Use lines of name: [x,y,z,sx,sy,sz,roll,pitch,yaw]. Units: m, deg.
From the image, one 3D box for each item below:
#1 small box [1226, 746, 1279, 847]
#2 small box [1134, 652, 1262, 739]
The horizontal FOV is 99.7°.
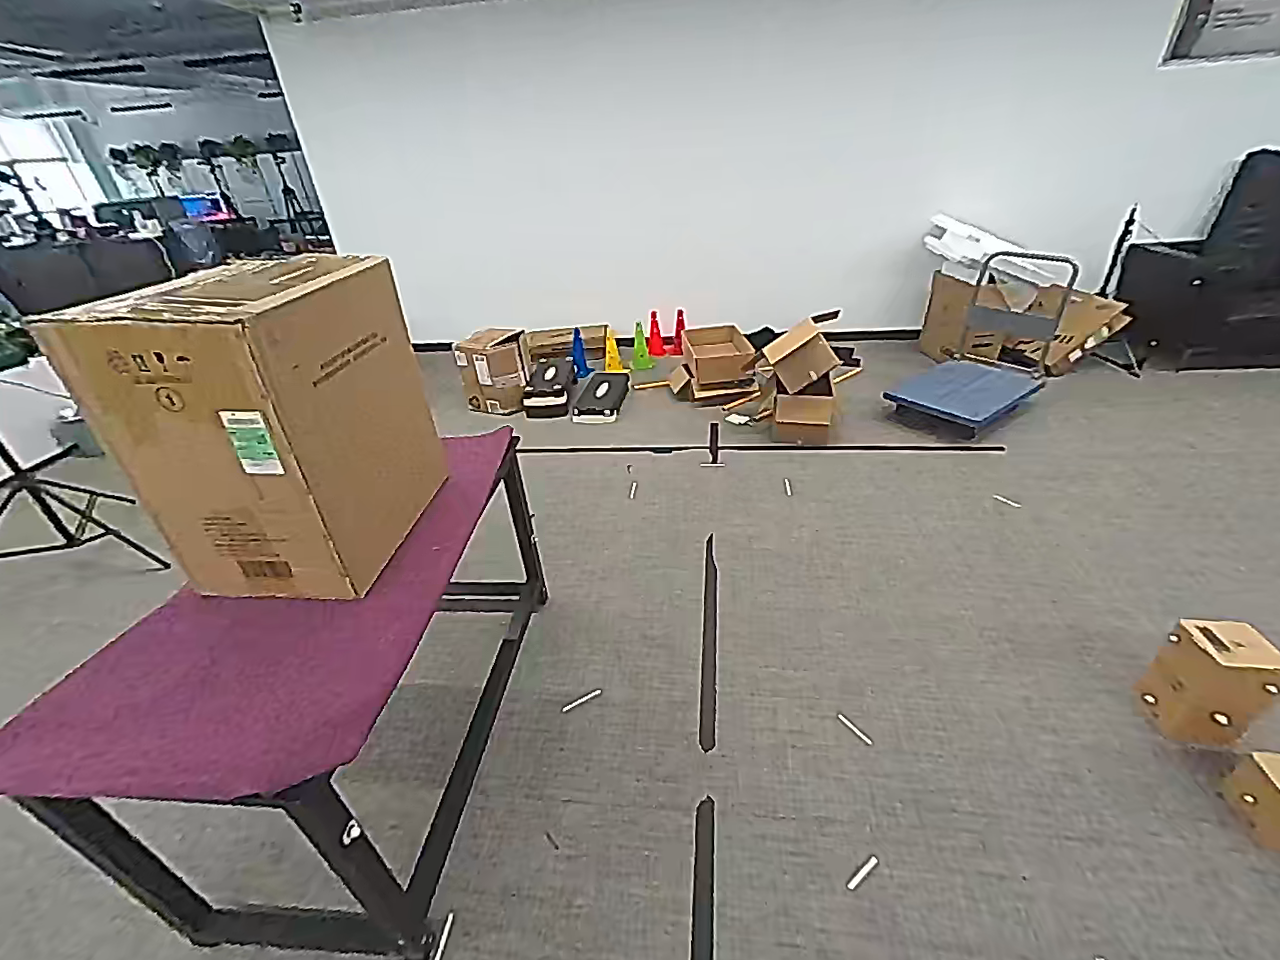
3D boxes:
small box: [1.611,0.786,1.325,0.179,0.176,0.168,2,33,10]
small box: [1.618,0.631,1.582,0.179,0.176,0.168,1,32,10]
